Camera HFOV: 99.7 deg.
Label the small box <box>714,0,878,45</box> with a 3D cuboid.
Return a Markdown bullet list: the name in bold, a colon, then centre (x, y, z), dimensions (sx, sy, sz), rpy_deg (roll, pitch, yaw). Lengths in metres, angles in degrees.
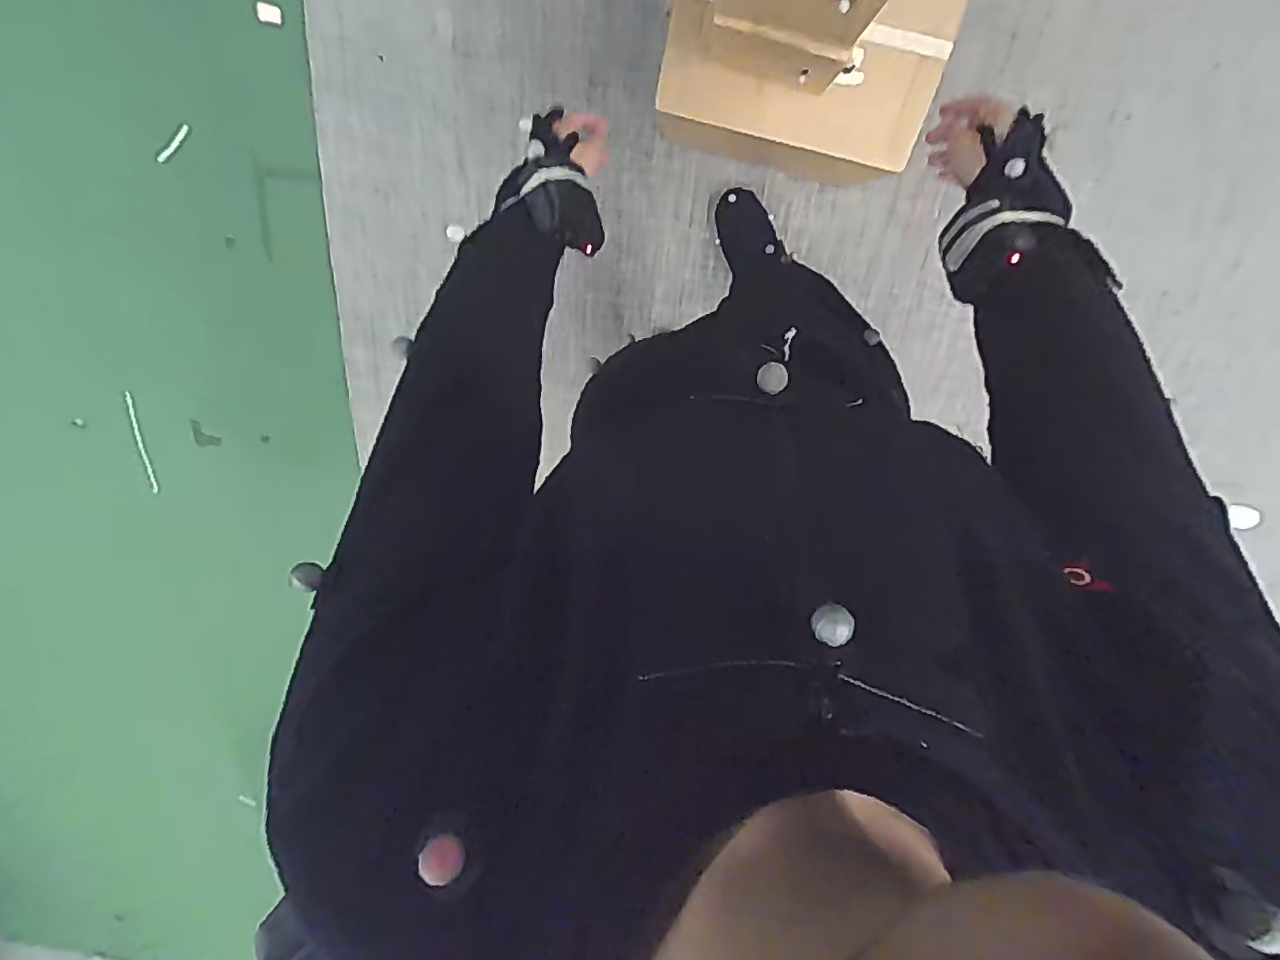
- **small box**: centre (0.177, -0.573, 0.537), dimensions (0.179, 0.176, 0.168), rpy_deg (14, 114, -1)

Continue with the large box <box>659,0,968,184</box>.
- **large box**: centre (0.260, -0.721, 0.907), dimensions (0.408, 0.320, 0.320), rpy_deg (13, 116, -1)

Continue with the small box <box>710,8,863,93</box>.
- **small box**: centre (0.196, -0.625, 0.691), dimensions (0.179, 0.176, 0.168), rpy_deg (15, 114, 0)
